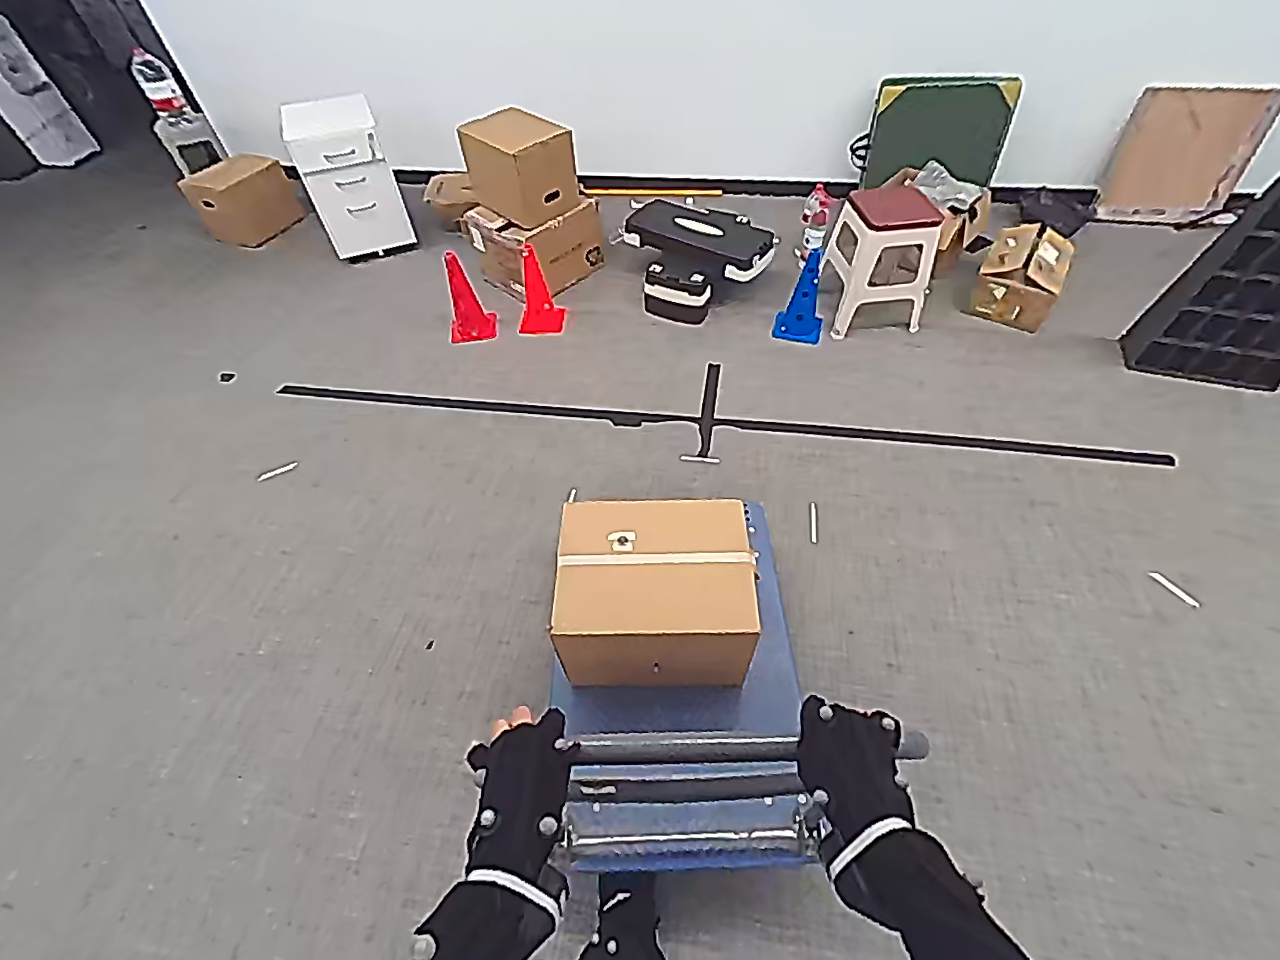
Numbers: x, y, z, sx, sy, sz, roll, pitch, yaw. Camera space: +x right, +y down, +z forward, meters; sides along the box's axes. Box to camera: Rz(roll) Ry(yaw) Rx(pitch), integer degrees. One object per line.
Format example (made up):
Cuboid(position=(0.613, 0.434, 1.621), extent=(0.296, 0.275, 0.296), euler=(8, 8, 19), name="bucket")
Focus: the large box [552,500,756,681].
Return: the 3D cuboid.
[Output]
Cuboid(position=(0.033, 0.264, 1.252), extent=(0.408, 0.320, 0.320), euler=(-2, 52, 2), name="large box")
